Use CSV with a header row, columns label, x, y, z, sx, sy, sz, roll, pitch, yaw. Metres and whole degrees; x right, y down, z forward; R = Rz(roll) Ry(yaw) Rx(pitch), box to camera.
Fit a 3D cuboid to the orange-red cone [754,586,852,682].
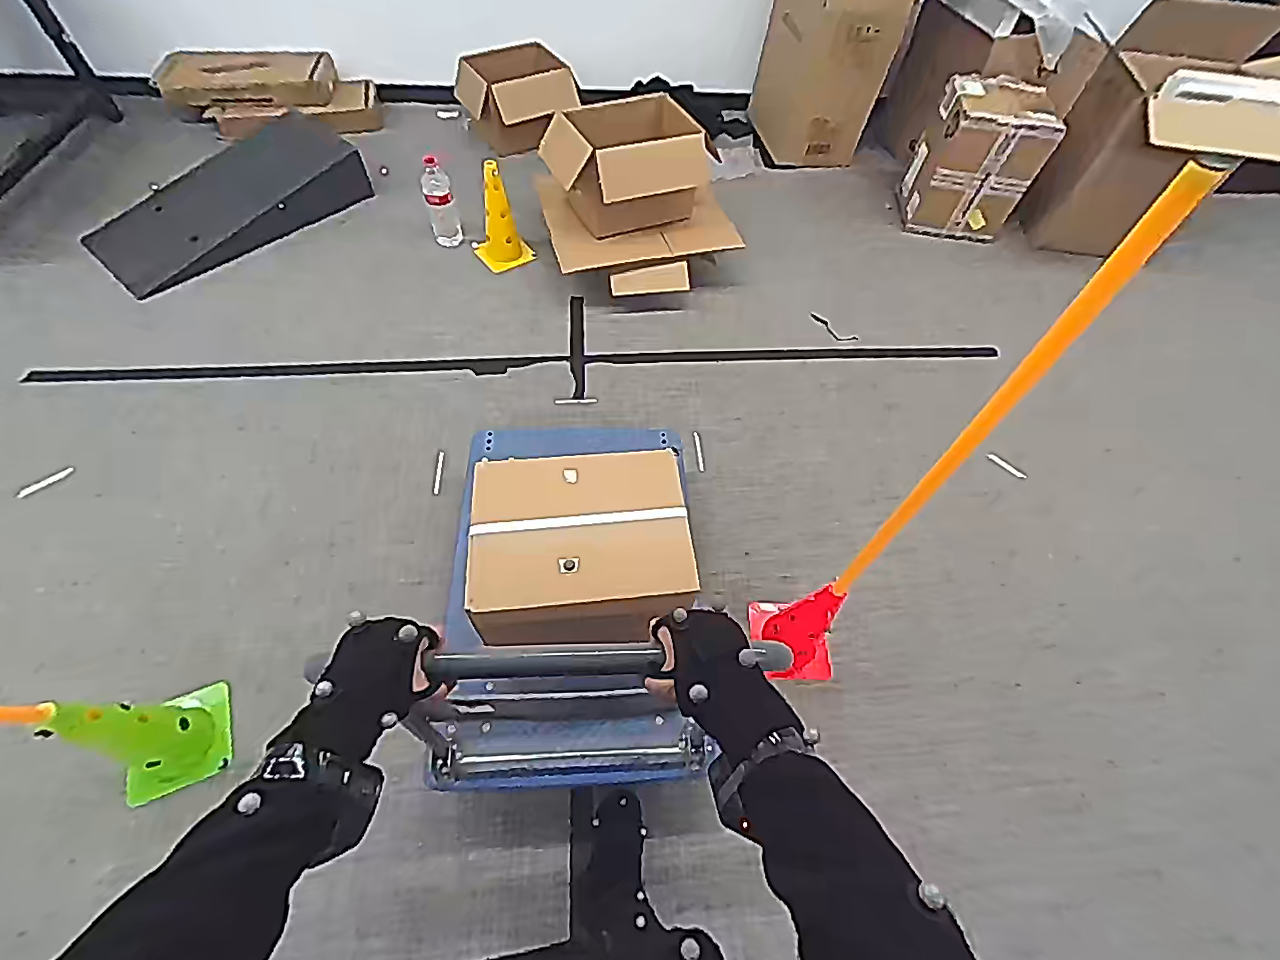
label,x,y,z,sx,sy,sz,roll,pitch,yaw
orange-red cone,0.407,0.326,1.255,0.199,0.360,0.198,4,58,-3
